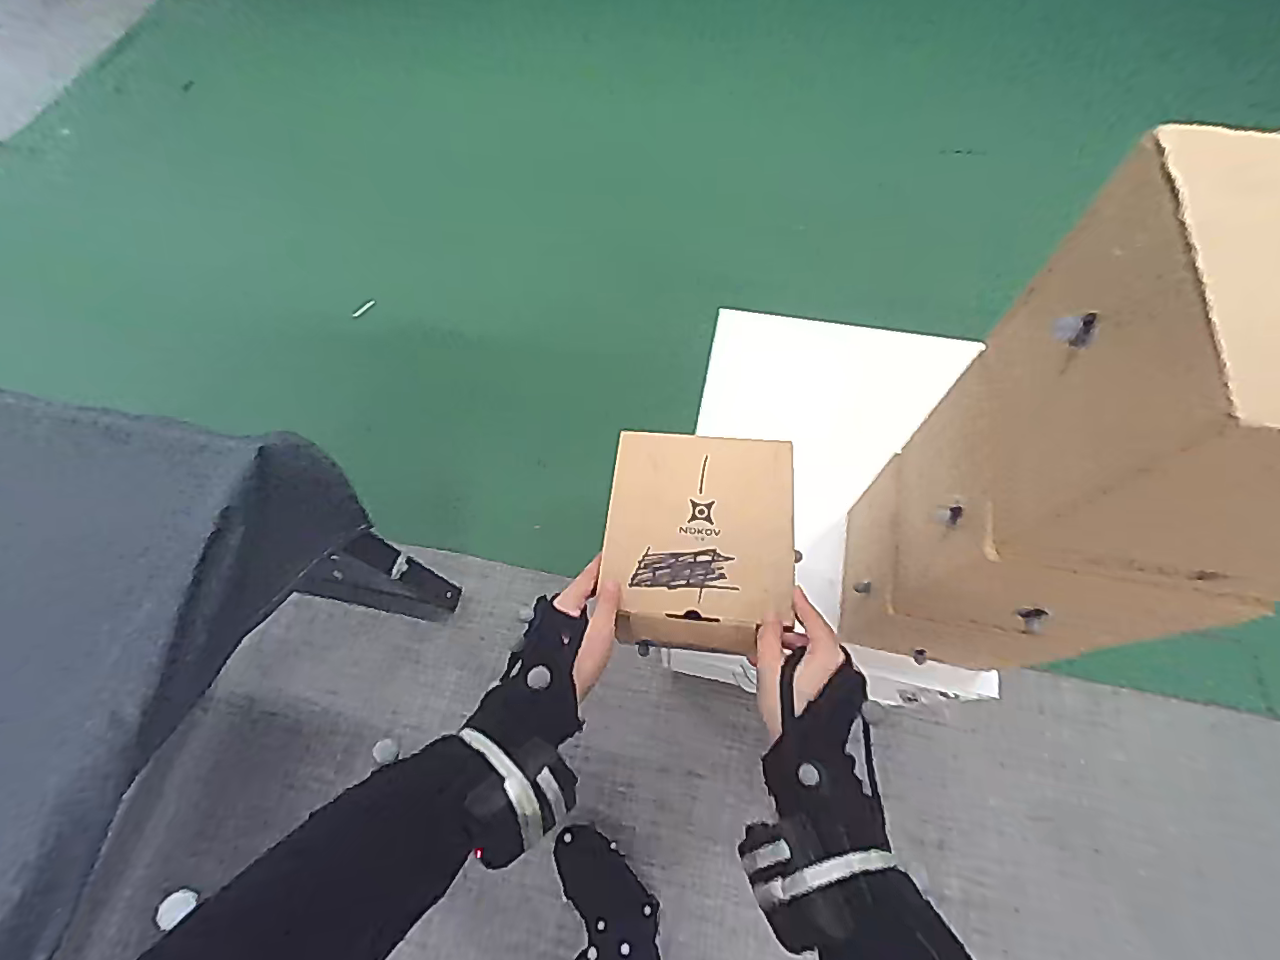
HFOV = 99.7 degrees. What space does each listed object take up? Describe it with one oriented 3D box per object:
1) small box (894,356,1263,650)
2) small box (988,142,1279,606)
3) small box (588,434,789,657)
[{"bbox_3d":[0.325,0.029,0.446,0.168,0.176,0.179,12,66,8],"label":"small box"},{"bbox_3d":[0.323,-0.046,0.301,0.168,0.176,0.179,9,65,8],"label":"small box"},{"bbox_3d":[0.053,0.073,0.542,0.168,0.176,0.179,4,64,6],"label":"small box"}]
